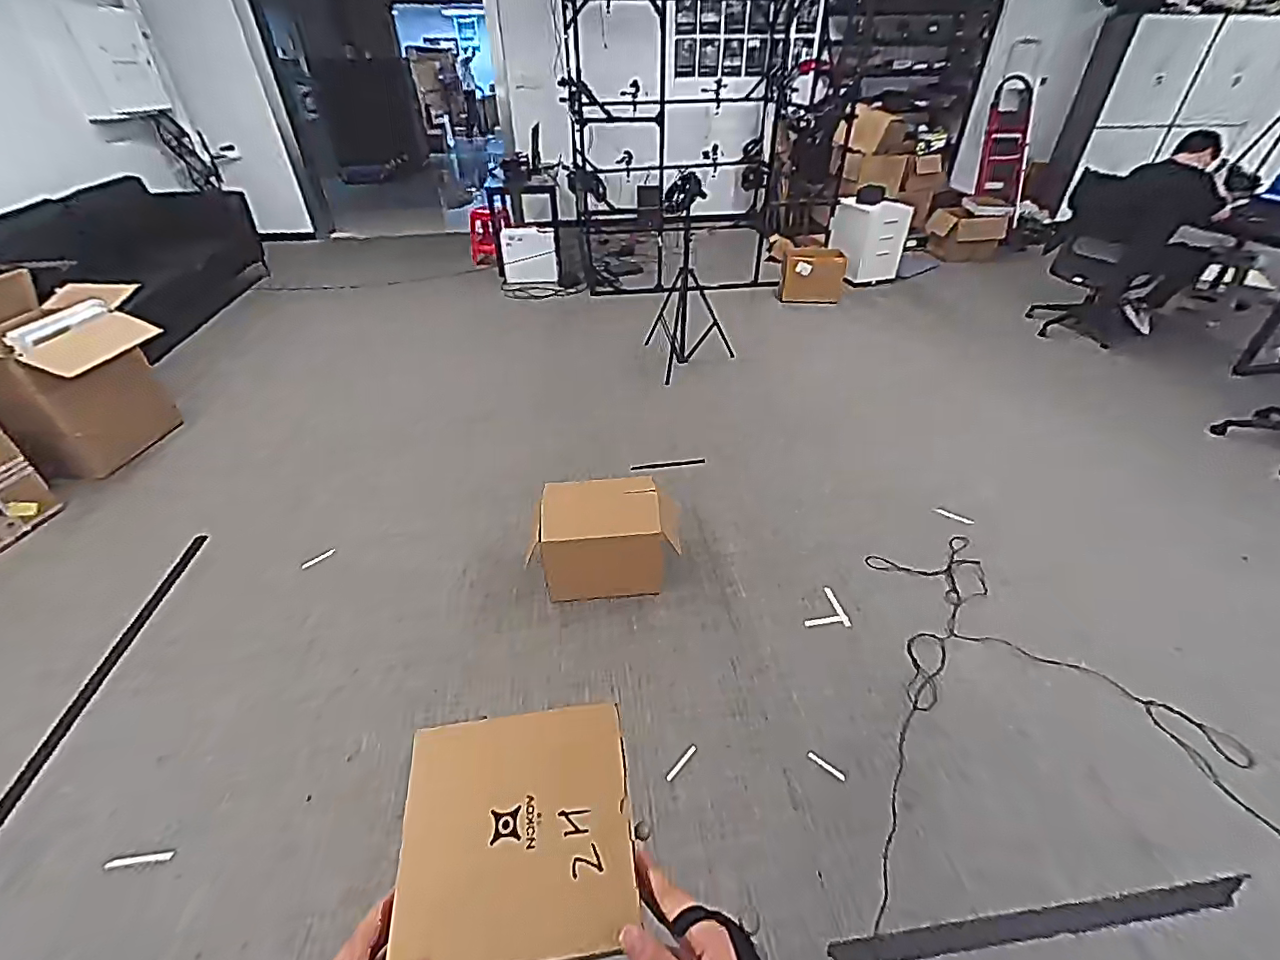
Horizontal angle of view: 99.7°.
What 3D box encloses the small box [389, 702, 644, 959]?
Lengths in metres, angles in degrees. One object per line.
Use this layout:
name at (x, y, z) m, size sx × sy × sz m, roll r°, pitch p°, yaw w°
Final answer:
small box at (-0.092, 0.318, 0.477) m, size 0.179 × 0.176 × 0.168 m, roll -6°, pitch 49°, yaw -5°
